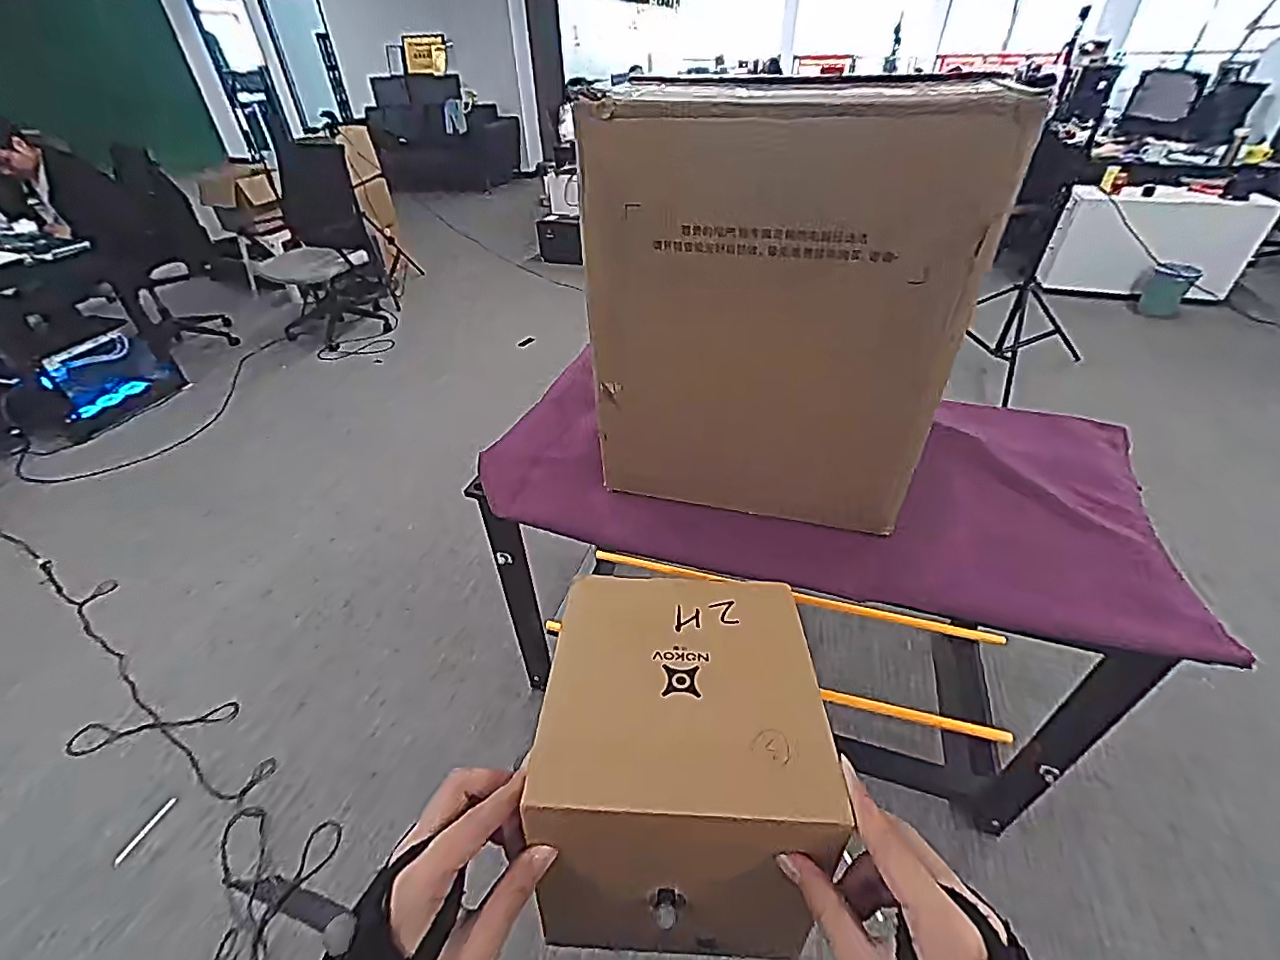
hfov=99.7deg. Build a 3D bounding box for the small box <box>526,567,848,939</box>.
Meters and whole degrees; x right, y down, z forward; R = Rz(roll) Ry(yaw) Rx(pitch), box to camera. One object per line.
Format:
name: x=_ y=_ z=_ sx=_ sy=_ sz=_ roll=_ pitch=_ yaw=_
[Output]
small box: x=0.027 y=0.183 z=0.380 sx=0.168 sy=0.176 sz=0.179 roll=2 pitch=30 yaw=2
